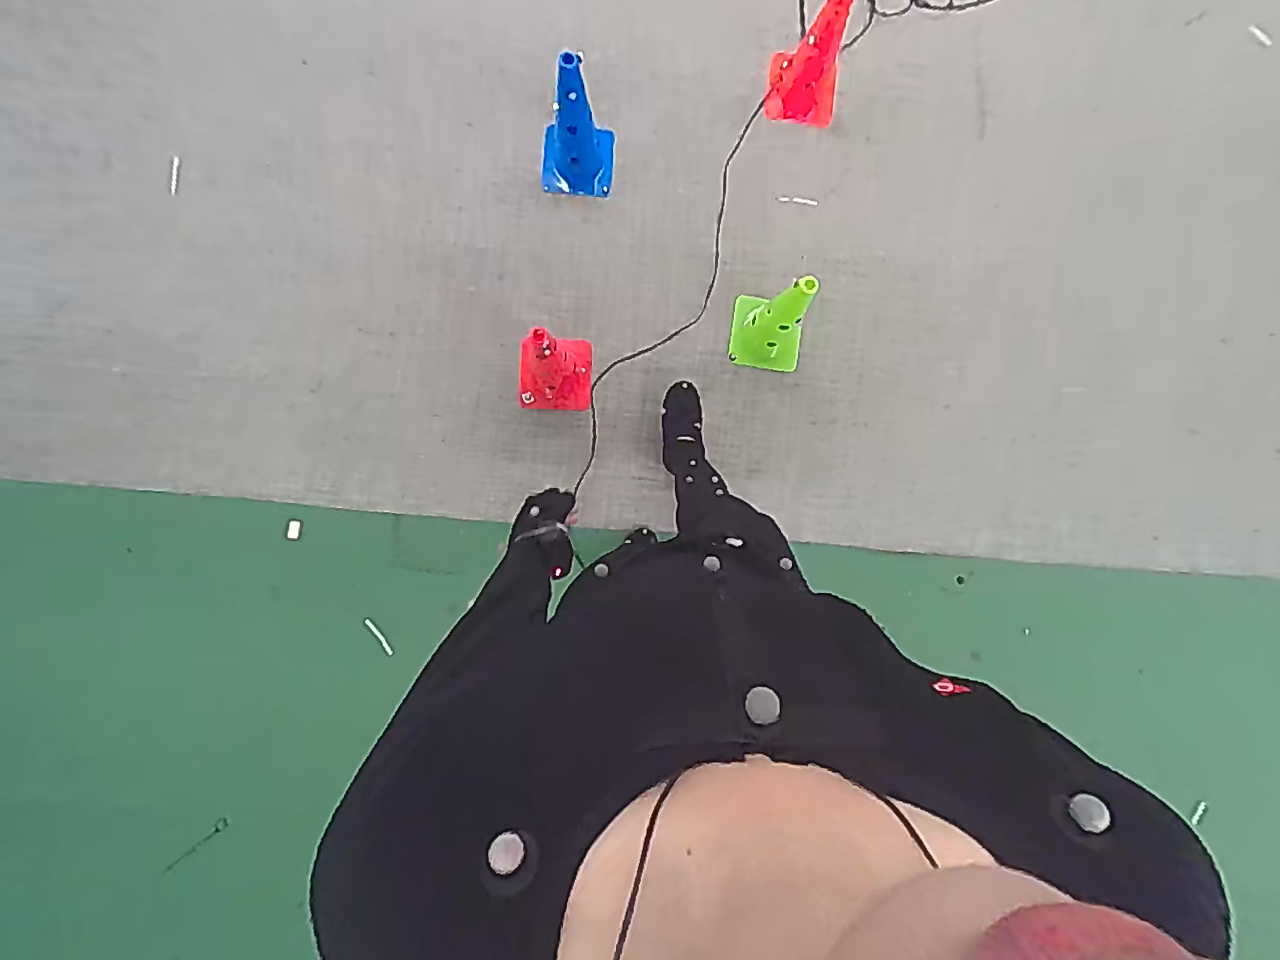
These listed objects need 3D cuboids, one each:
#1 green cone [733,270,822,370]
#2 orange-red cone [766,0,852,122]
[{"bbox_3d":[0.378,-0.429,1.368,0.200,0.368,0.202,7,86,-2],"label":"green cone"},{"bbox_3d":[0.479,-1.153,1.406,0.198,0.360,0.199,9,89,-1],"label":"orange-red cone"}]
